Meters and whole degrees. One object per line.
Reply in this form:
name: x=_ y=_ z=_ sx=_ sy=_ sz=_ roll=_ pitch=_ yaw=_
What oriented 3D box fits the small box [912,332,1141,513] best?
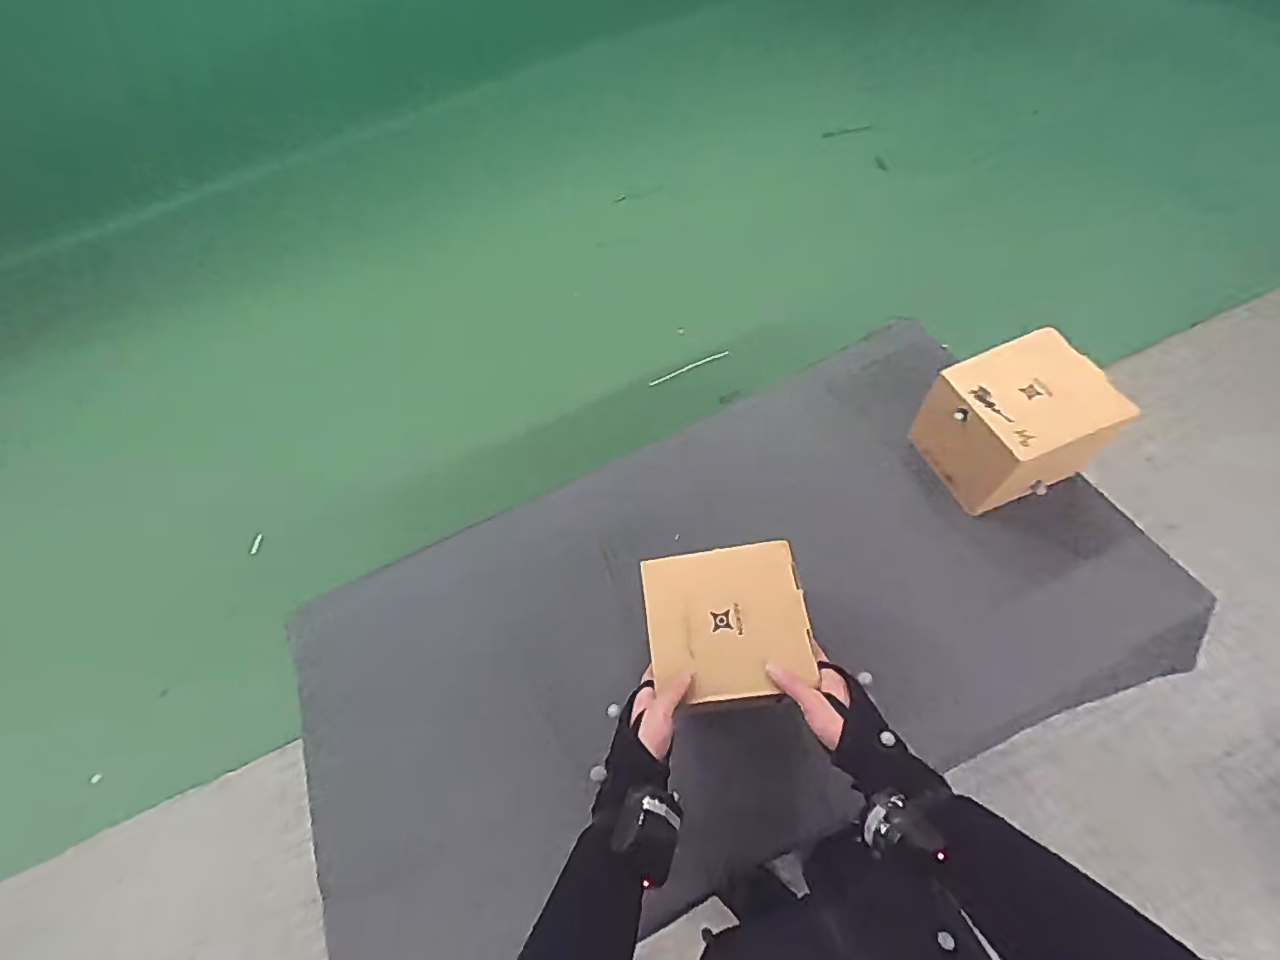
small box: x=0.539 y=-0.077 z=0.786 sx=0.179 sy=0.176 sz=0.168 roll=-21 pitch=61 yaw=-4

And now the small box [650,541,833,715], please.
small box: x=0.115 y=0.188 z=0.659 sx=0.179 sy=0.176 sz=0.168 roll=-9 pitch=63 yaw=6
